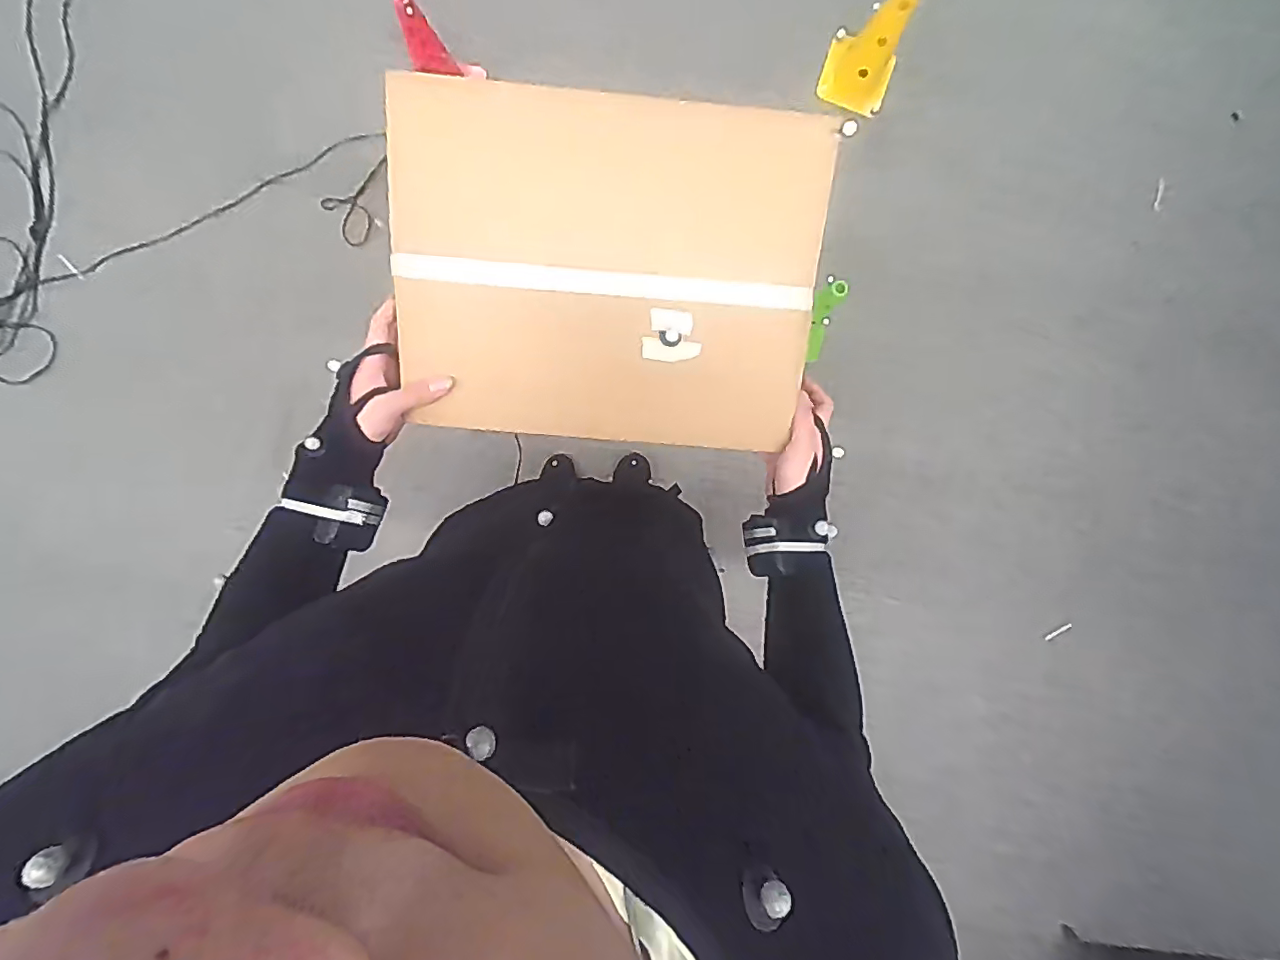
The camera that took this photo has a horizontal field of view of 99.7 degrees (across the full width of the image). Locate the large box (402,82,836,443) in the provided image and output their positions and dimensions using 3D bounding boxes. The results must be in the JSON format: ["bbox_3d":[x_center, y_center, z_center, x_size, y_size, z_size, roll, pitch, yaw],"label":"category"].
[{"bbox_3d":[-0.032,-0.239,0.673,0.408,0.320,0.320,4,108,-3],"label":"large box"}]

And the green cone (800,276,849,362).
[{"bbox_3d":[0.472,-0.468,1.469,0.200,0.368,0.202,15,91,-4],"label":"green cone"}]
